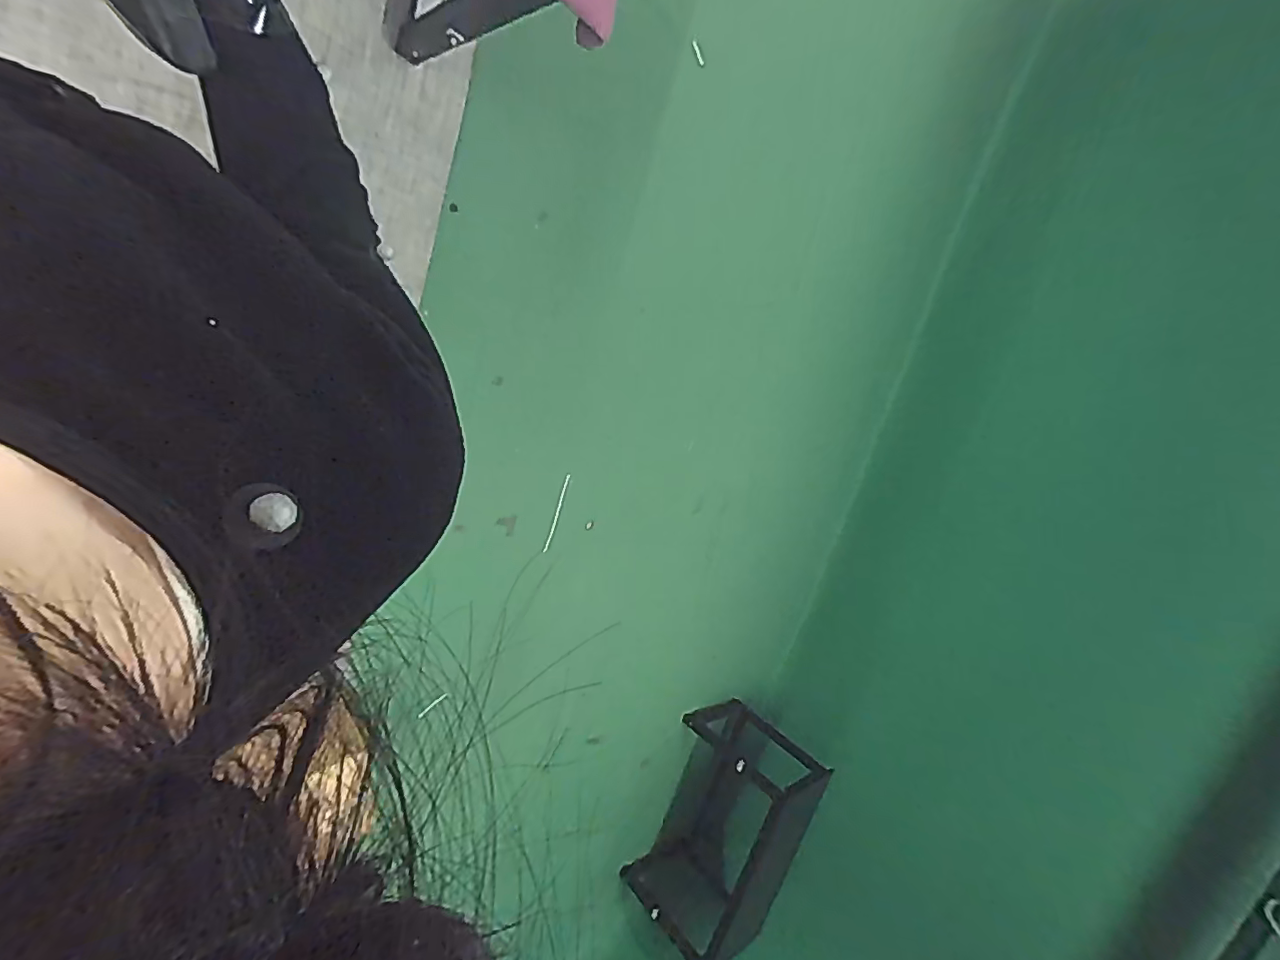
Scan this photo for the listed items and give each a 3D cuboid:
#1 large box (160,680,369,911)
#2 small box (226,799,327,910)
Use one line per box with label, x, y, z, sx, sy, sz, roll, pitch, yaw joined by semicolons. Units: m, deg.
large box;-1.020;0.833;1.492;0.408;0.320;0.320;-13;120;-42
small box;-0.879;0.924;1.312;0.179;0.176;0.168;-7;114;-42
